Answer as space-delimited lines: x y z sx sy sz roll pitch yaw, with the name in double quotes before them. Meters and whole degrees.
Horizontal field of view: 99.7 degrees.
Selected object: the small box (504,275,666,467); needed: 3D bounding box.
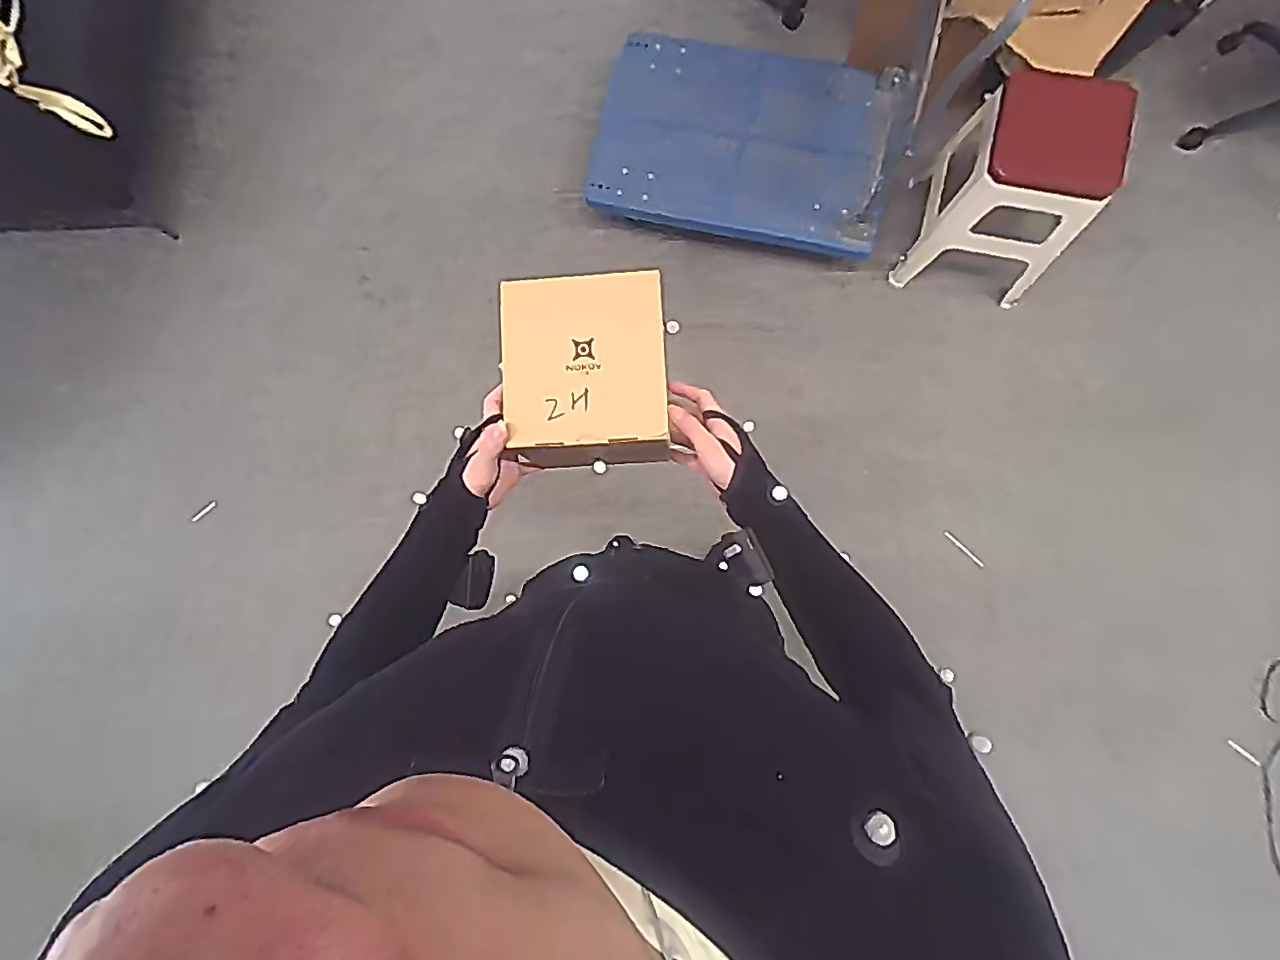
"small box" -0.056 -0.115 0.632 0.168 0.176 0.179 -3 85 3
